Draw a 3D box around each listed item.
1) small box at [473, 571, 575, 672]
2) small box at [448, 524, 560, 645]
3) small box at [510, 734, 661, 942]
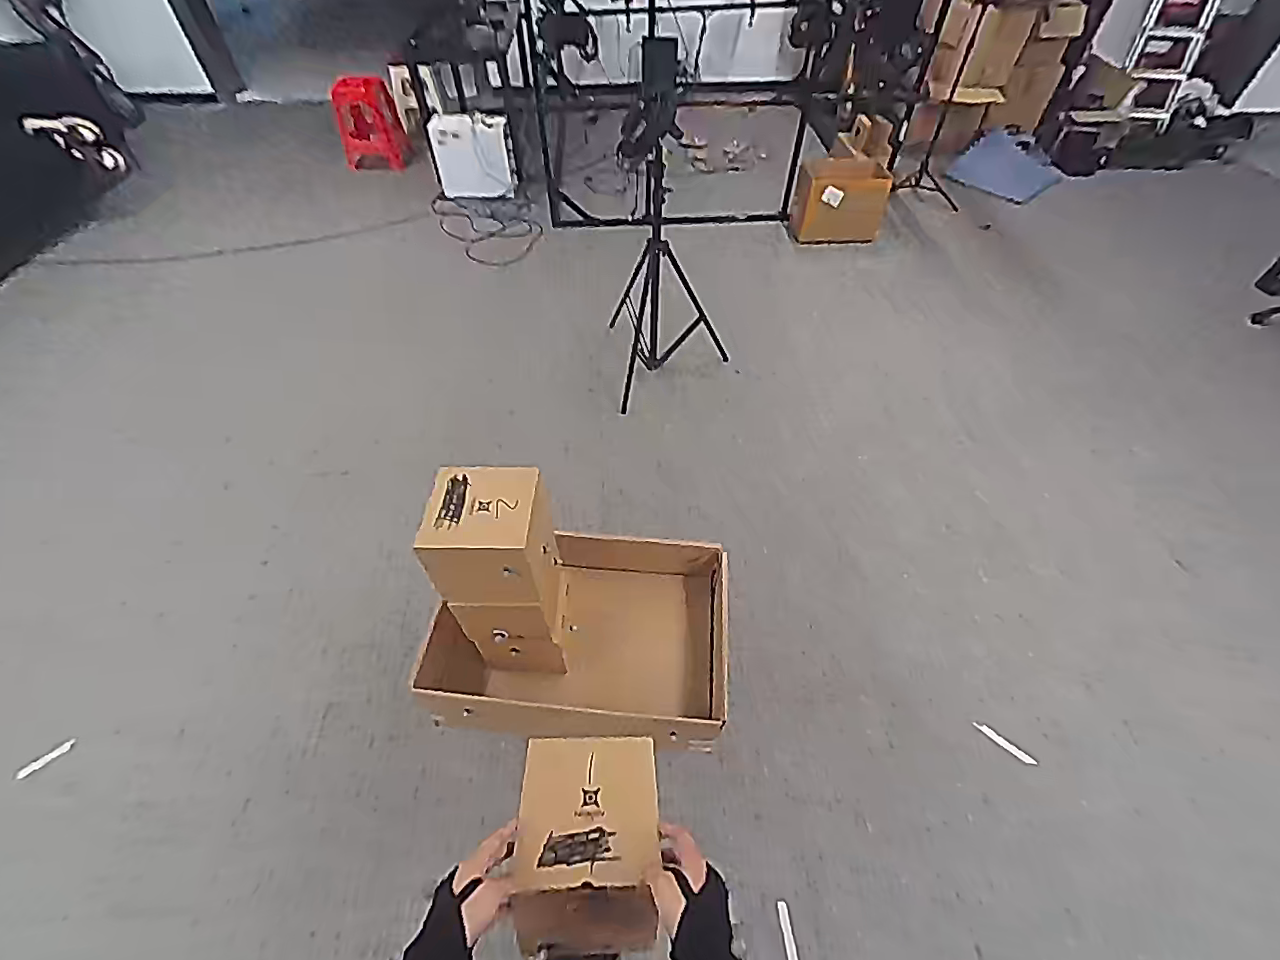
[{"bbox_3d":[-0.242,0.308,1.177,0.179,0.176,0.168,2,51,1],"label":"small box"},{"bbox_3d":[-0.252,0.203,1.052,0.168,0.176,0.179,0,50,1],"label":"small box"},{"bbox_3d":[-0.061,0.452,0.685,0.168,0.176,0.179,1,31,-3],"label":"small box"}]
